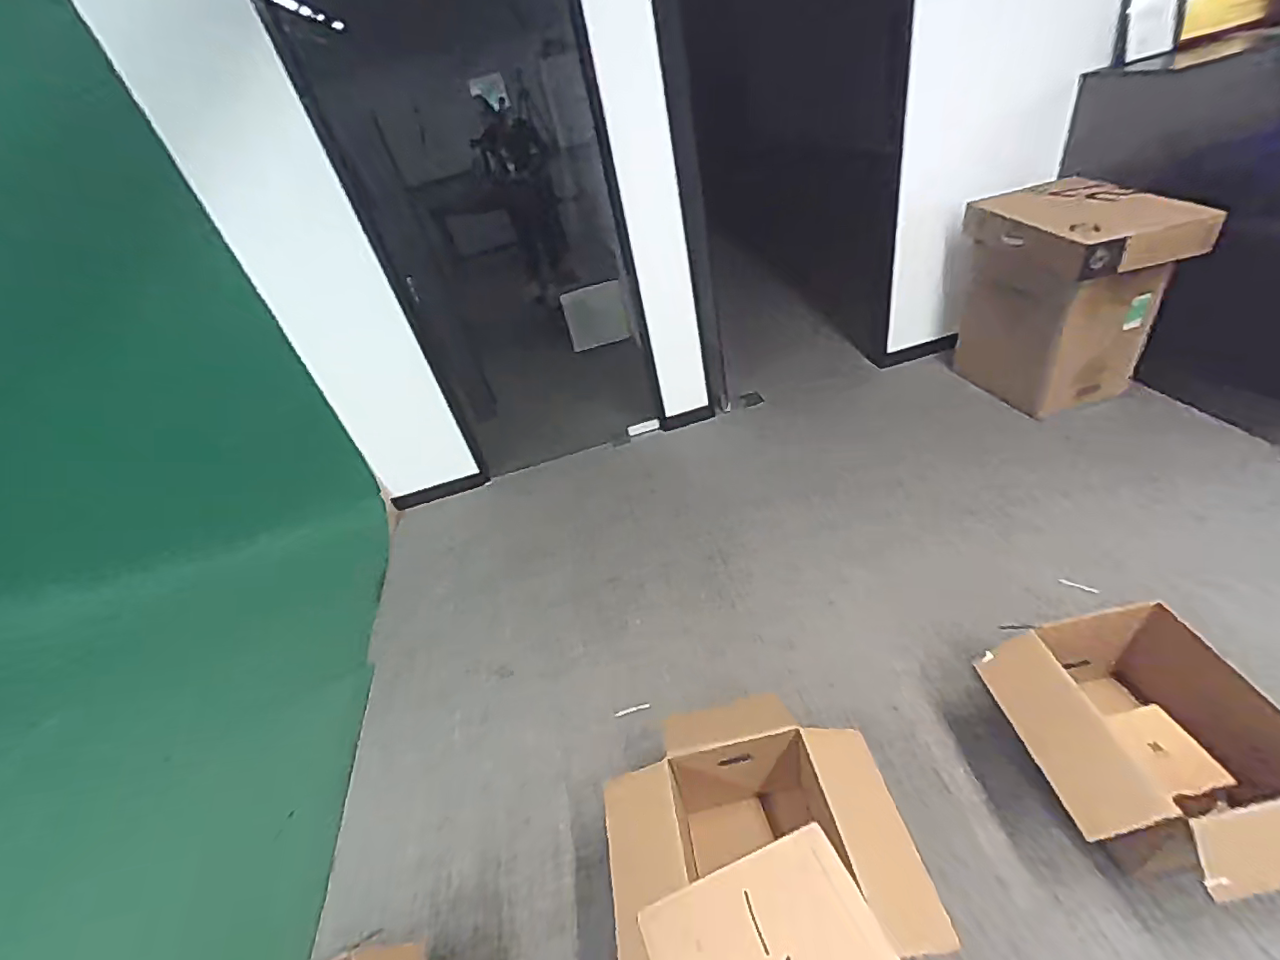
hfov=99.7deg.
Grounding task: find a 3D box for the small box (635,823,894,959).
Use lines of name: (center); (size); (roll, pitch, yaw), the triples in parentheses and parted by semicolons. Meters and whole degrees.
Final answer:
small box: (0.111, 0.418, 0.413); (0.168, 0.176, 0.179); (-18, 33, -11)
